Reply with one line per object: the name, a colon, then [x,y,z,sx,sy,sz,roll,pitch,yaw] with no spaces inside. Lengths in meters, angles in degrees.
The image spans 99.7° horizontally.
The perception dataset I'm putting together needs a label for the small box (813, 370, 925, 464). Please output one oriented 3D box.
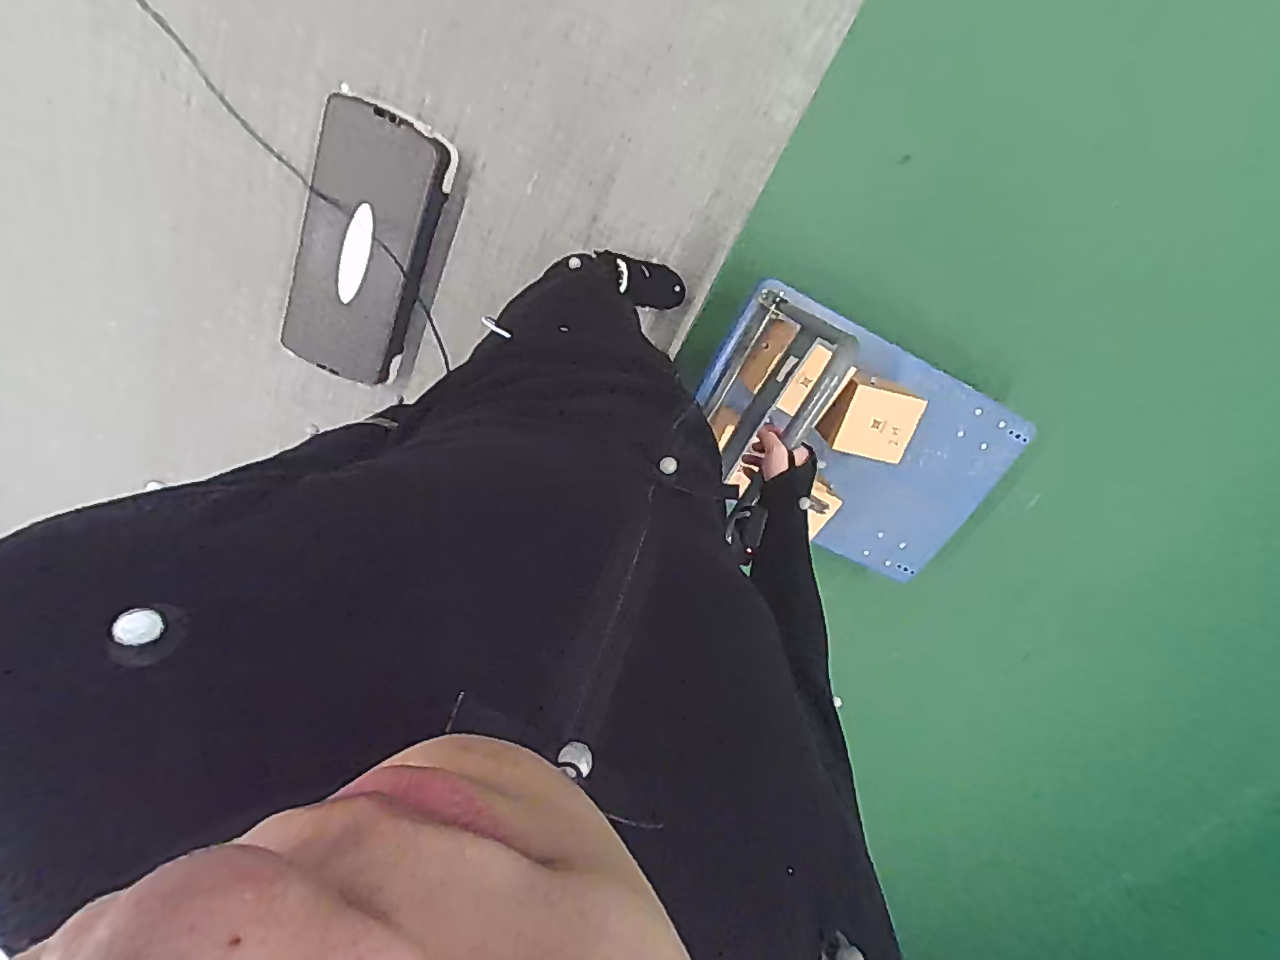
small box: [0.553,-0.162,1.336,0.179,0.176,0.168,13,115,-6]
